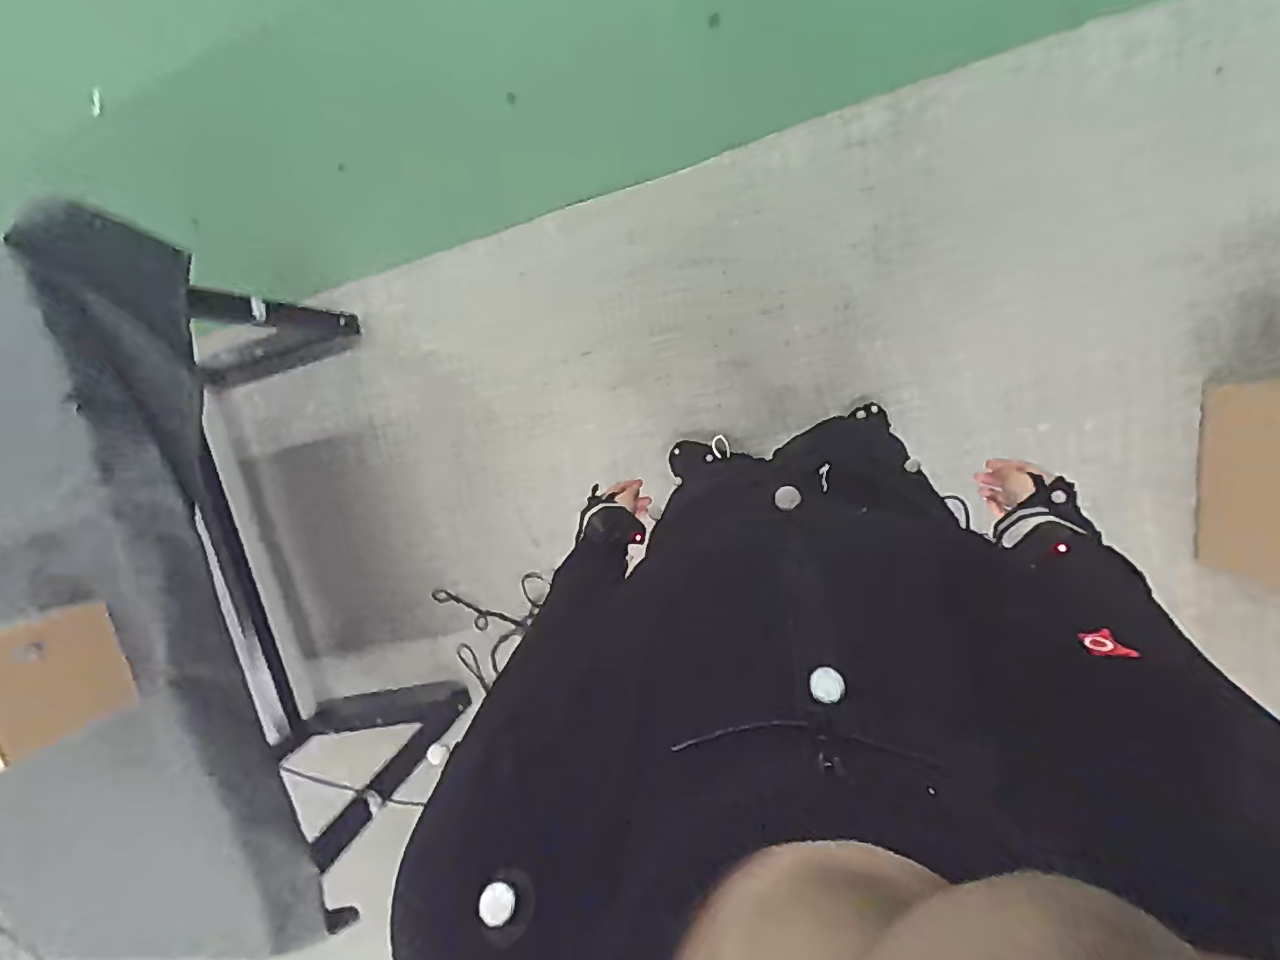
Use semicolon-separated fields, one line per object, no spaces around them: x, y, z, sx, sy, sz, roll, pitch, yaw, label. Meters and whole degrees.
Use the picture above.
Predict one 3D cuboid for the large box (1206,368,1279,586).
1.326;-0.013;0.979;0.320;0.320;0.408;-6;99;13;large box
